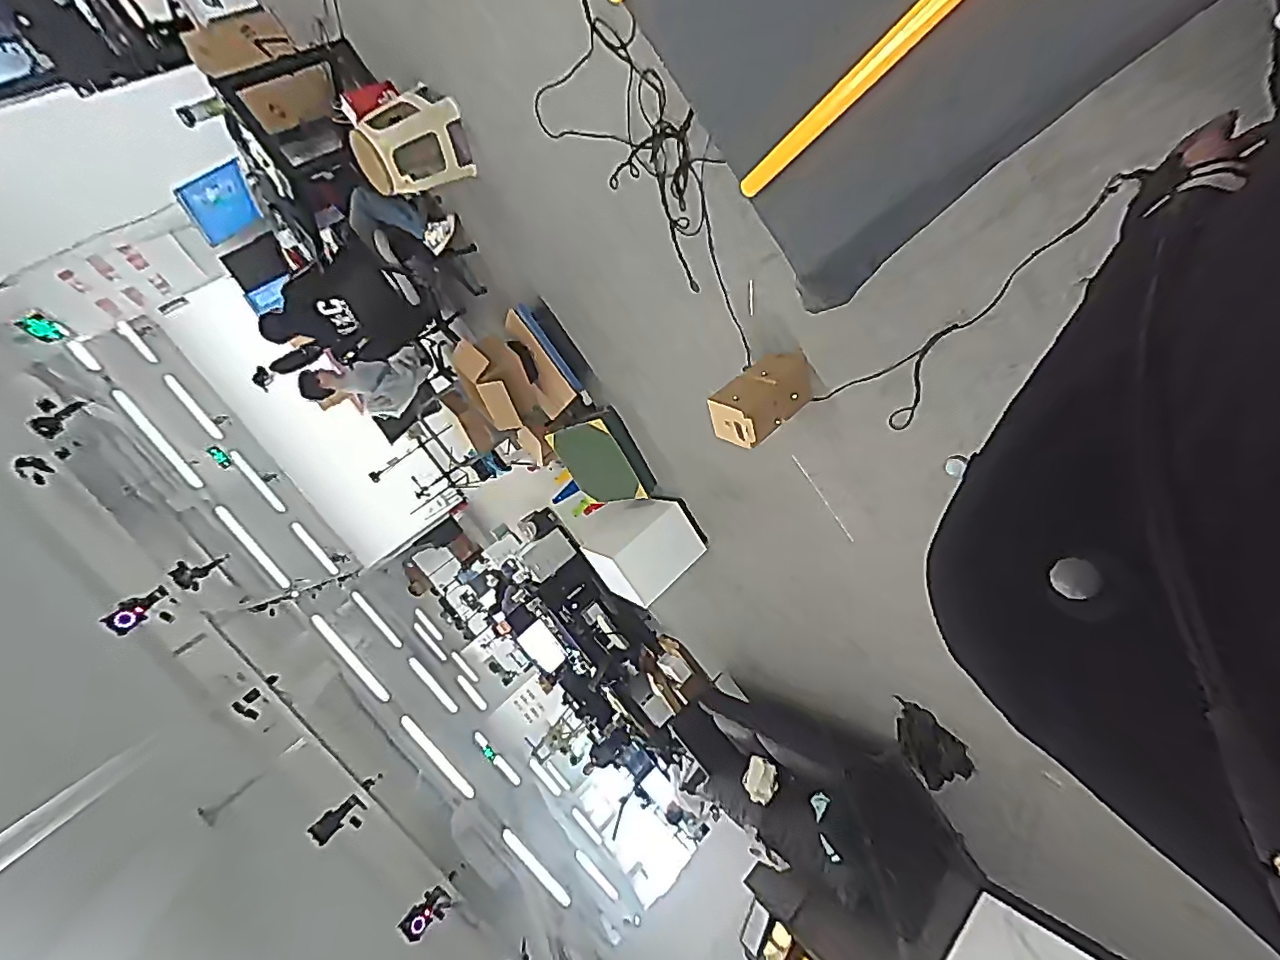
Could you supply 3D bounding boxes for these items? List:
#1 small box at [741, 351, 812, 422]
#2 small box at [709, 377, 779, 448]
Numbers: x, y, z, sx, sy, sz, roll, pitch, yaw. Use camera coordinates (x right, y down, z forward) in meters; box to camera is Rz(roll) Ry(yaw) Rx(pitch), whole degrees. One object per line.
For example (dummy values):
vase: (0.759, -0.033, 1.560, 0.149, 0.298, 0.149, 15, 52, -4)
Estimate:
small box: (0.498, -0.340, 1.952, 0.168, 0.176, 0.179, 24, 146, 49)
small box: (0.373, -0.244, 1.902, 0.179, 0.176, 0.168, 29, 149, 45)
